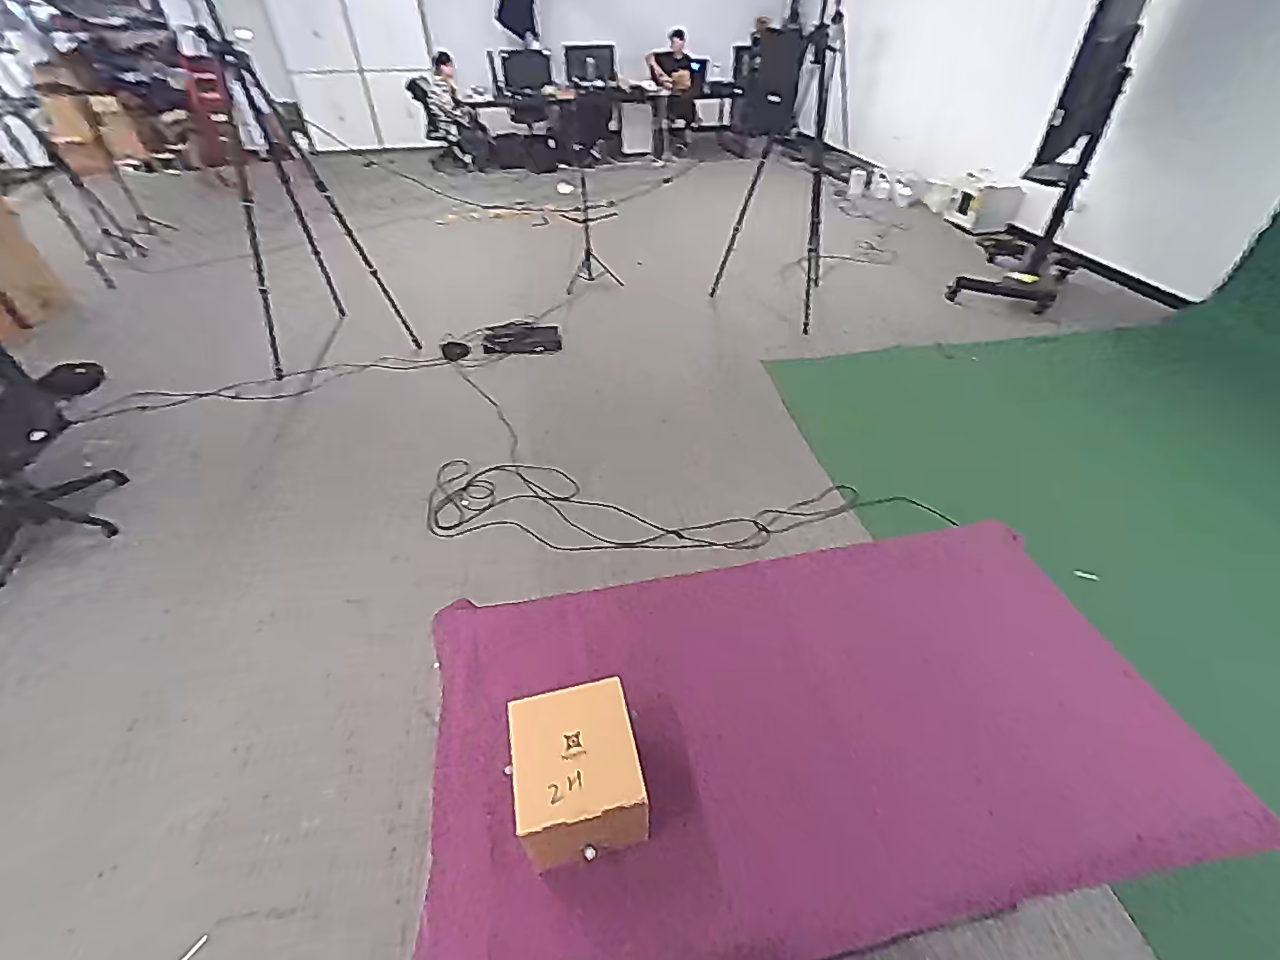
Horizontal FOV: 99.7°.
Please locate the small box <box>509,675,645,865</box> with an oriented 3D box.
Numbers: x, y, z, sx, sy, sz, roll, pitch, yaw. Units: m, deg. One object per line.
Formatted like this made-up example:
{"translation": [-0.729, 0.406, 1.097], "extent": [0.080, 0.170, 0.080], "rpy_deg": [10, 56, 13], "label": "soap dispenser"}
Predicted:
{"translation": [-0.093, 0.418, 0.784], "extent": [0.168, 0.176, 0.179], "rpy_deg": [-10, 43, -10], "label": "small box"}
